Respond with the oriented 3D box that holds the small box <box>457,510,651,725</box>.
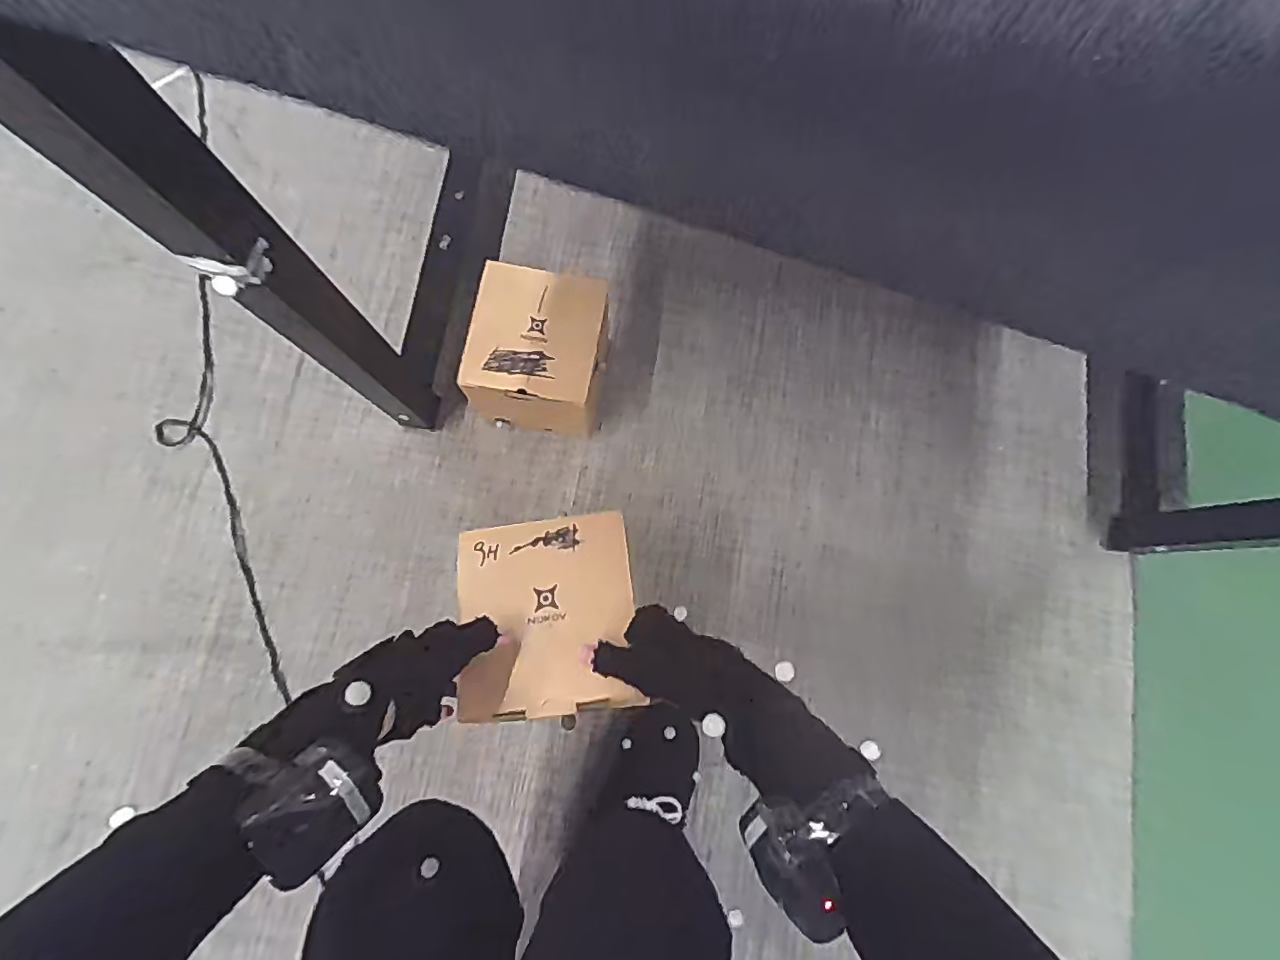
[{"bbox_3d":[-0.082,0.150,0.570,0.168,0.176,0.179,-9,66,0],"label":"small box"}]
